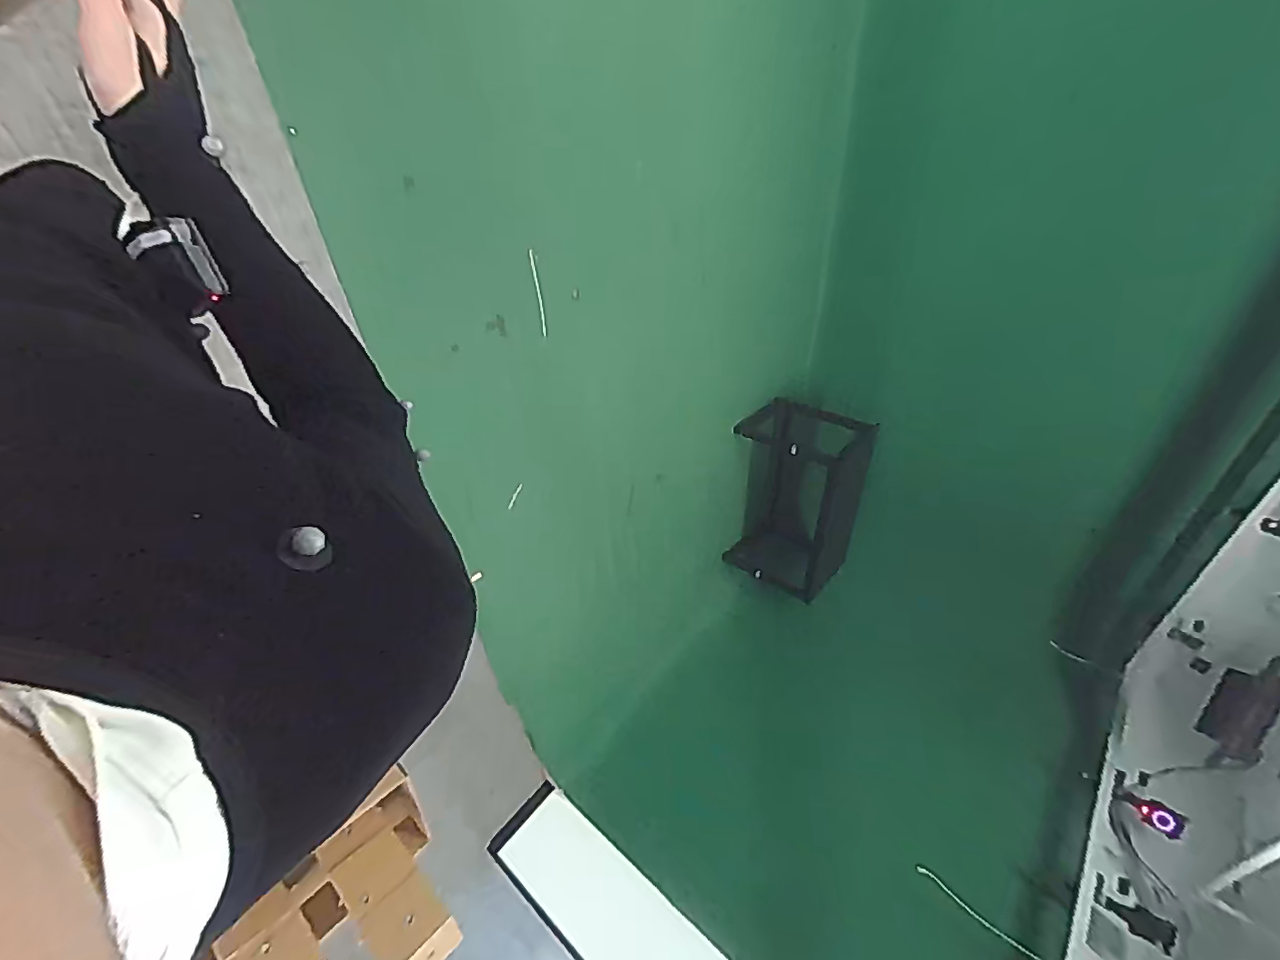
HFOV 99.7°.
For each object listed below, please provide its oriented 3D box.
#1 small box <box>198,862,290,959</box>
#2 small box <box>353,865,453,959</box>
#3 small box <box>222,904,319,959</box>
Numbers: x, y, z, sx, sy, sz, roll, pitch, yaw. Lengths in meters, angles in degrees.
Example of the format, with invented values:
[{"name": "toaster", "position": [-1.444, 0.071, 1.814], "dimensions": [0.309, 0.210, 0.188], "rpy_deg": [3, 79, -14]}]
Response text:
[{"name": "small box", "position": [-1.039, 1.171, 1.440], "dimensions": [0.168, 0.176, 0.179], "rpy_deg": [-25, 130, -42]}, {"name": "small box", "position": [-0.621, 1.171, 1.411], "dimensions": [0.179, 0.176, 0.168], "rpy_deg": [-31, 134, -39]}, {"name": "small box", "position": [-0.917, 1.230, 1.348], "dimensions": [0.179, 0.176, 0.168], "rpy_deg": [-25, 130, -41]}]
